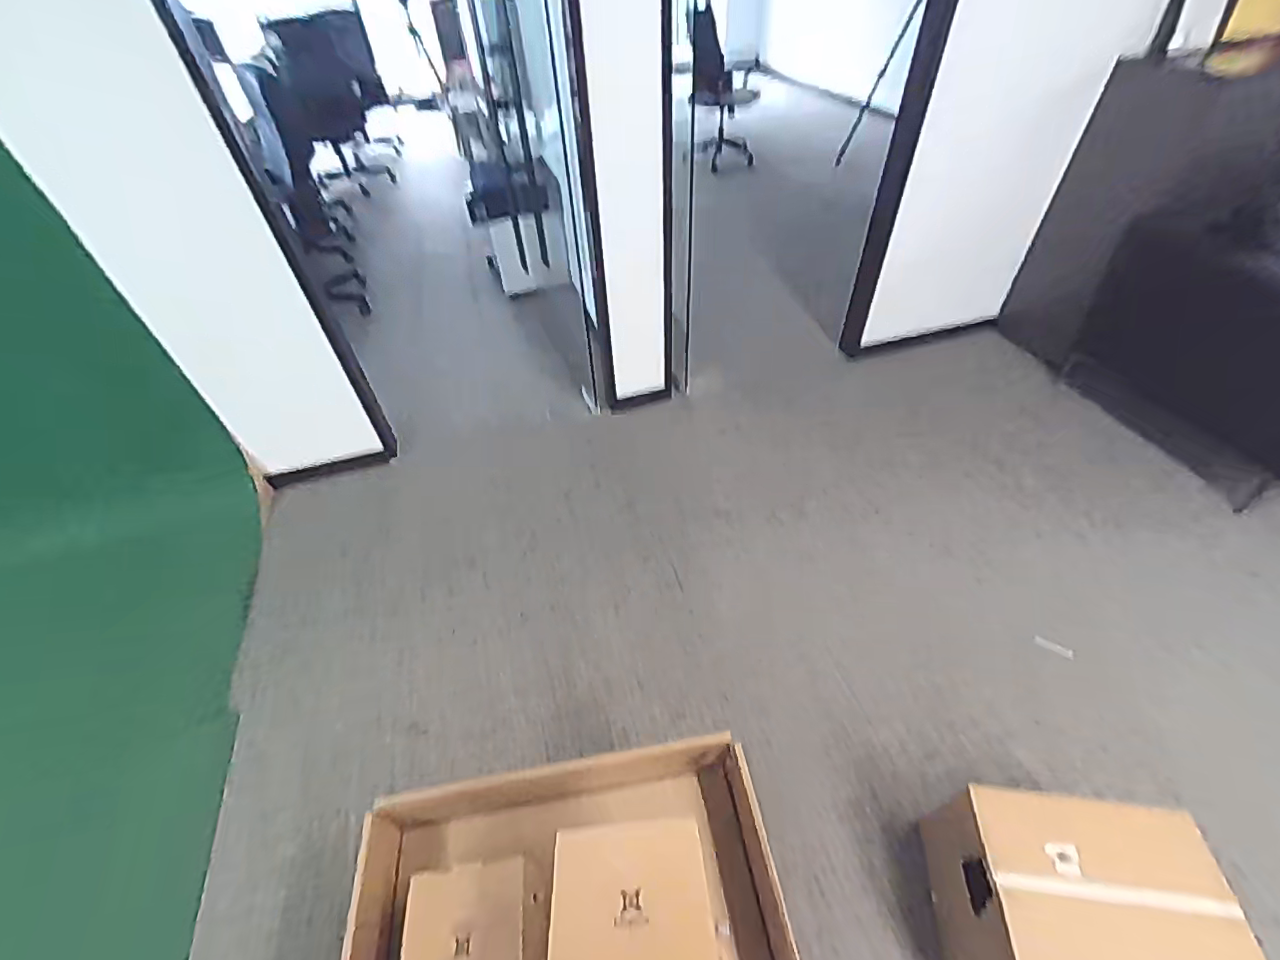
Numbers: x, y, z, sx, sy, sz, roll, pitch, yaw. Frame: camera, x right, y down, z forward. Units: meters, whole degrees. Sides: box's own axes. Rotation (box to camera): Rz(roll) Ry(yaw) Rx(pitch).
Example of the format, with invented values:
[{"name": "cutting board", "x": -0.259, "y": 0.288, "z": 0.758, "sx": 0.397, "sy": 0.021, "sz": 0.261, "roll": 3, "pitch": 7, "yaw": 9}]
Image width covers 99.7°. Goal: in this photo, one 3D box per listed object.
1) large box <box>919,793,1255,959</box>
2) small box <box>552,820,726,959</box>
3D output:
[{"name": "large box", "x": 0.830, "y": 0.842, "z": 1.054, "sx": 0.408, "sy": 0.320, "sz": 0.320, "roll": 3, "pitch": 46, "yaw": 7}, {"name": "small box", "x": -0.003, "y": 0.504, "z": 0.573, "sx": 0.168, "sy": 0.176, "sz": 0.179, "roll": -3, "pitch": 24, "yaw": -3}]
